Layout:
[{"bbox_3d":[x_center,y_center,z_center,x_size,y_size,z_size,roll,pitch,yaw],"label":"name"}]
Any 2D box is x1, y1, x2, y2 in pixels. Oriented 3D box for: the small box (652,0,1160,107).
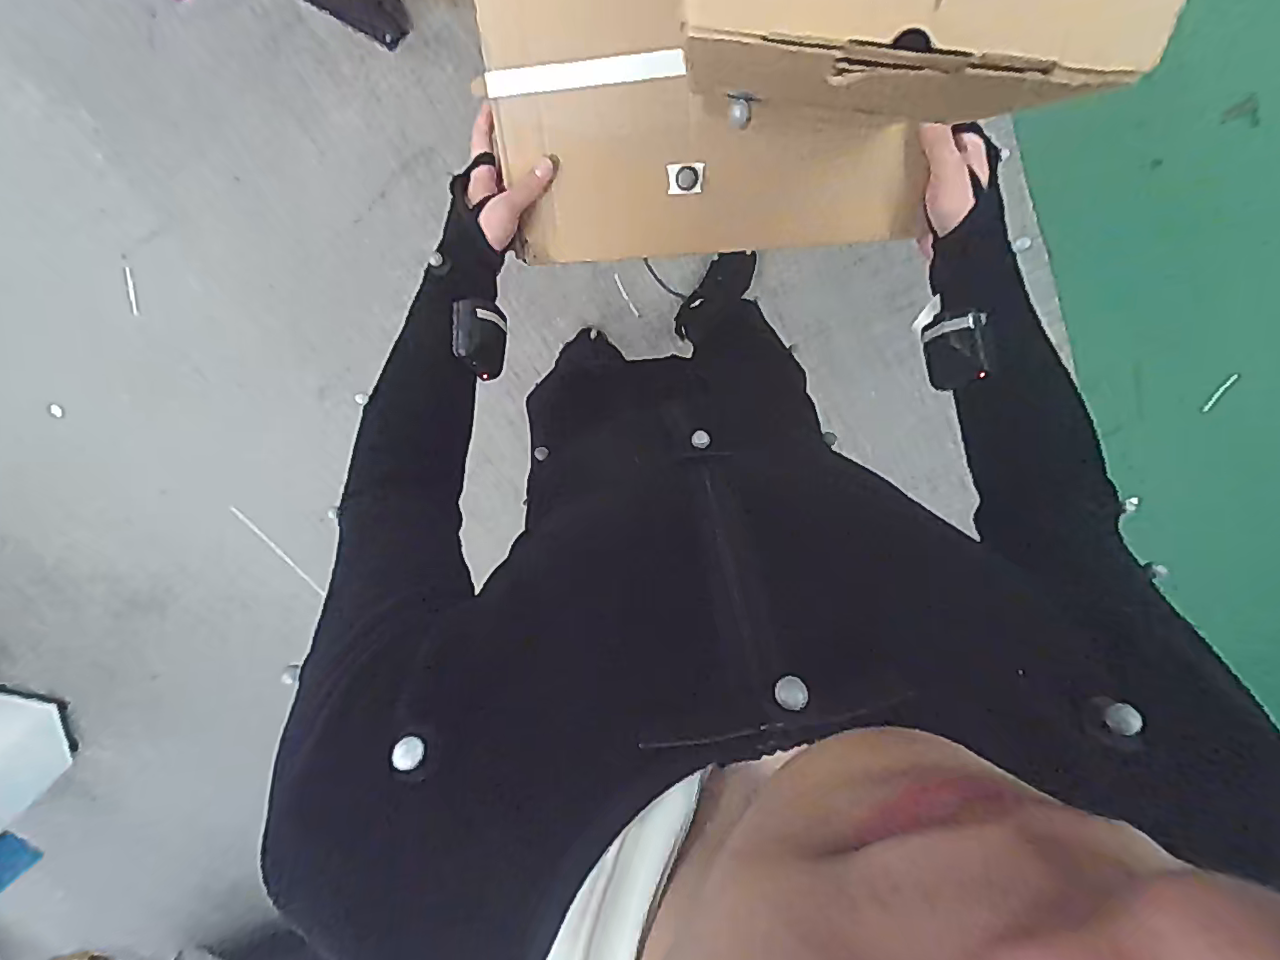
[{"bbox_3d":[0.101,-0.262,0.210,0.168,0.176,0.179,8,120,2],"label":"small box"}]
